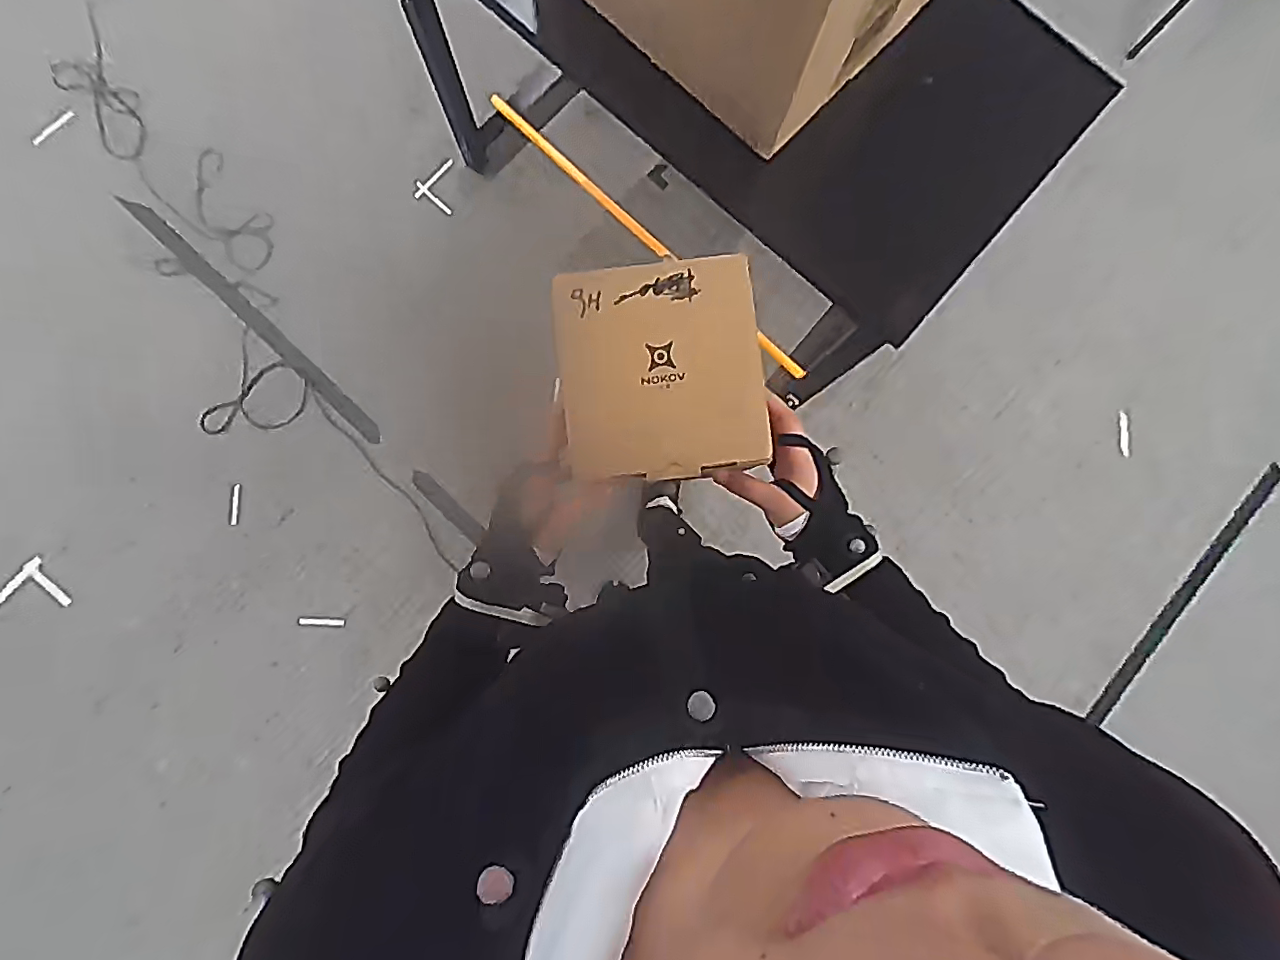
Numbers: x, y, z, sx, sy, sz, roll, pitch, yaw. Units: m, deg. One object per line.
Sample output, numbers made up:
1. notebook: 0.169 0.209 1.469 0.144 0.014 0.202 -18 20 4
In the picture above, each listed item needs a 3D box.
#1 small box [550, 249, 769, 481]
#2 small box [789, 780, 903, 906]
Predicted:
1. small box: 0.017 -0.093 0.521 0.168 0.176 0.179 -7 88 0
2. small box: 0.510 0.900 1.363 0.179 0.176 0.168 36 83 3
